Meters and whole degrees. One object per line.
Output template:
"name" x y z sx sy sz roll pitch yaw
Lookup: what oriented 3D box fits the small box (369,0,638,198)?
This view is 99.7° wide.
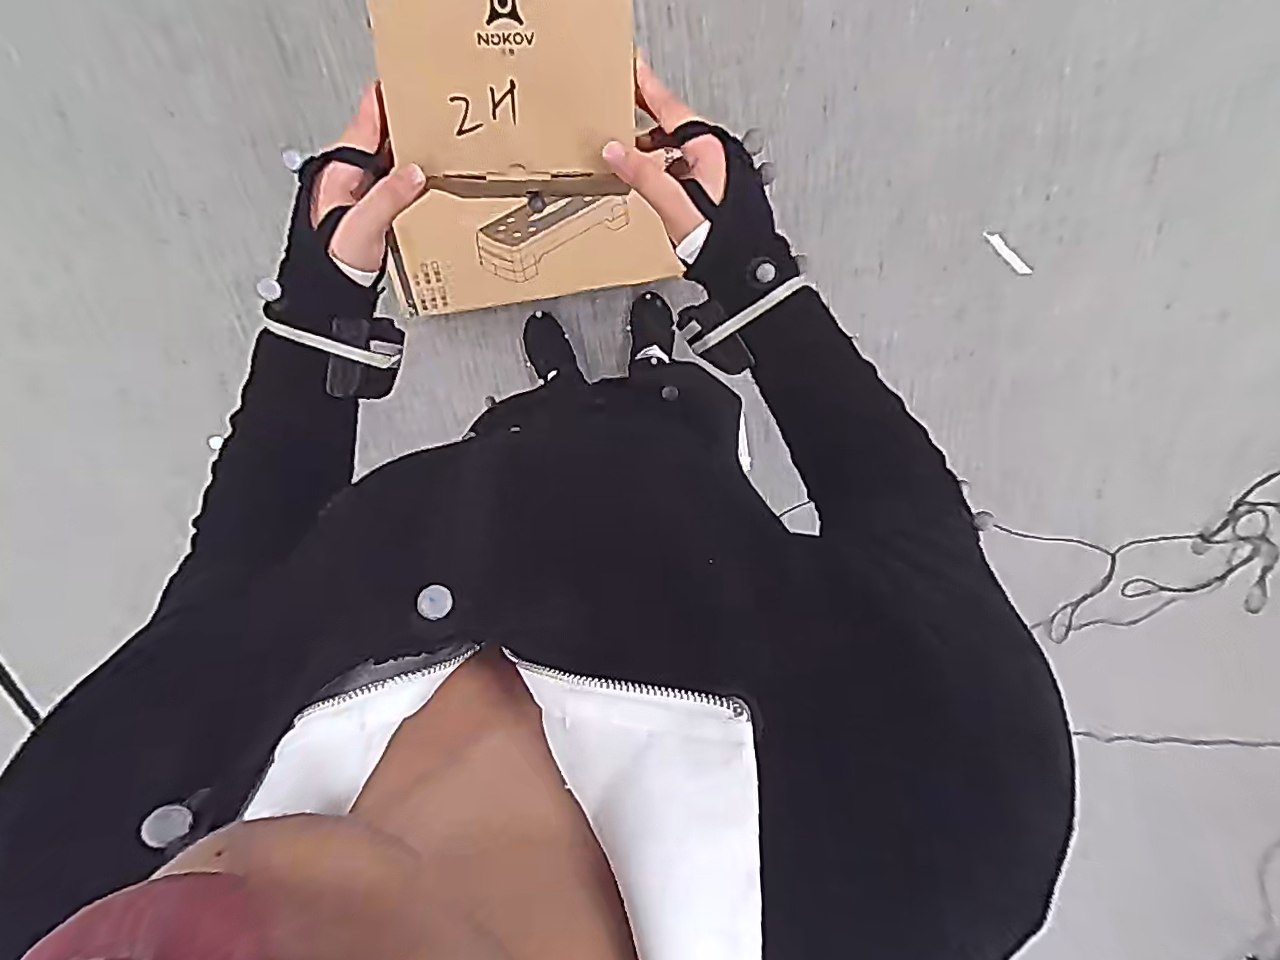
"small box" -0.087 -0.319 0.409 0.168 0.176 0.179 -2 114 -1
